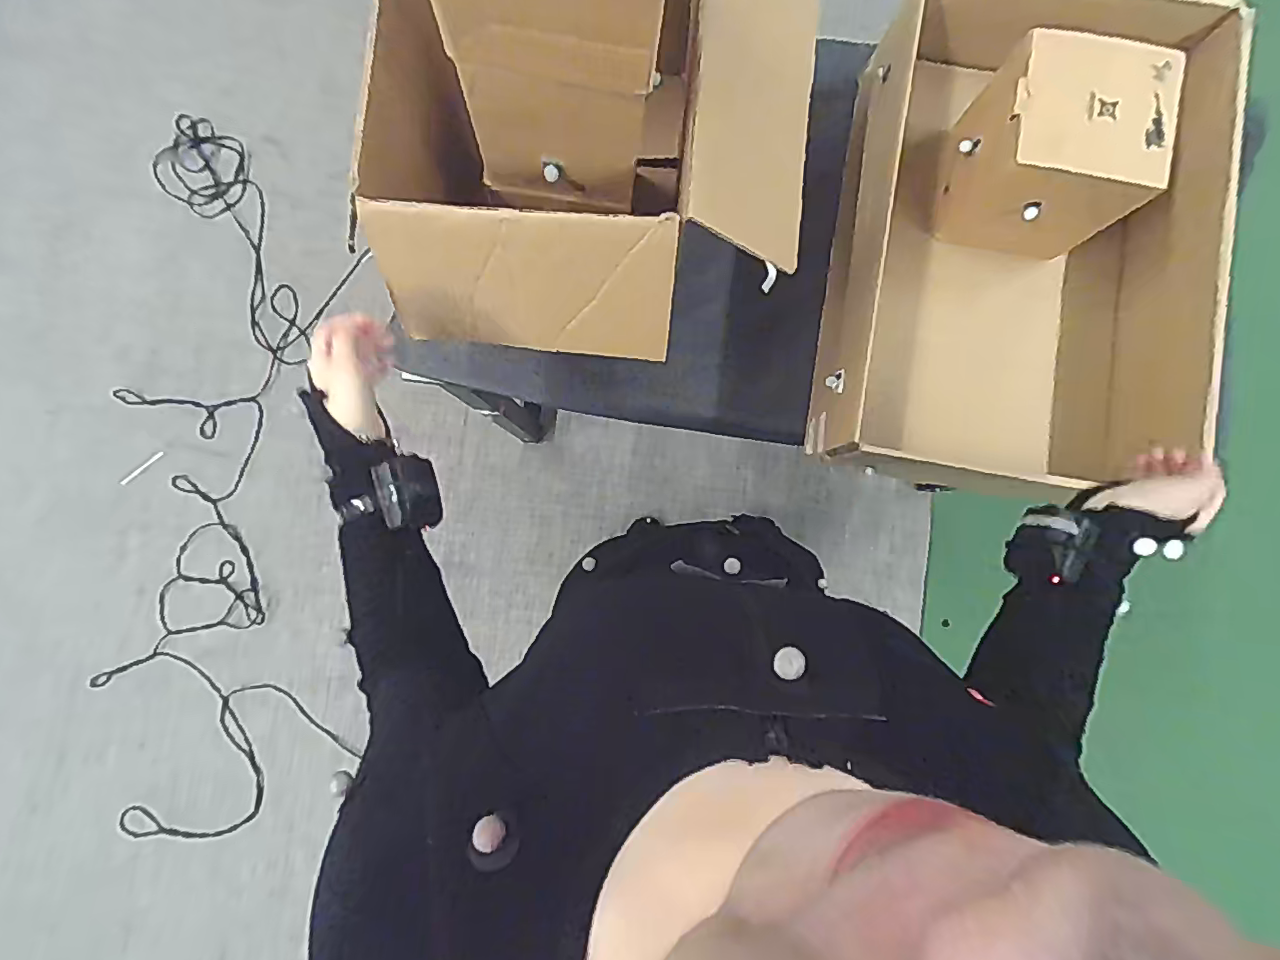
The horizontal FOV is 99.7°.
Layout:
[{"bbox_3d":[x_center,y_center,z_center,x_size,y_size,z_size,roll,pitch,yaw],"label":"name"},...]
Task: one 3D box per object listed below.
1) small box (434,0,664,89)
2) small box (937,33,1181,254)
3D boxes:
[{"bbox_3d":[-0.061,-0.429,0.389,0.179,0.176,0.168,8,84,-4],"label":"small box"},{"bbox_3d":[0.510,-0.410,0.686,0.179,0.176,0.168,10,87,2],"label":"small box"}]
